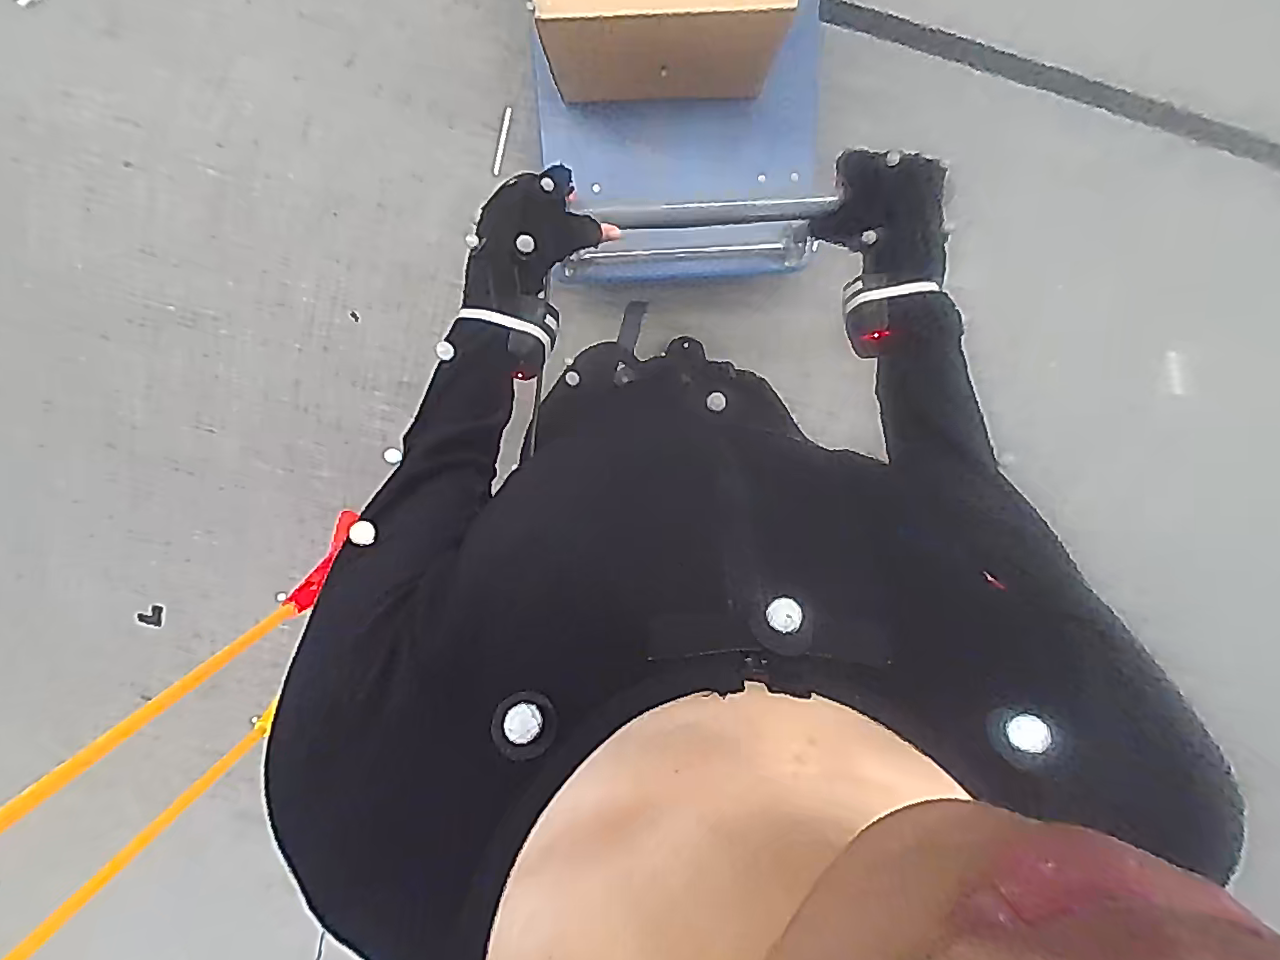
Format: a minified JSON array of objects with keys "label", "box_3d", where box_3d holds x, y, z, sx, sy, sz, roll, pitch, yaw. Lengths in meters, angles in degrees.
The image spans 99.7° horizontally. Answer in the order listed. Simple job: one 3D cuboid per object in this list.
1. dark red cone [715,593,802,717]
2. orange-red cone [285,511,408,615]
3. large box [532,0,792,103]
[{"label":"dark red cone","box_3d":[0.336,0.468,1.396,0.201,0.394,0.202,15,104,-5]},{"label":"orange-red cone","box_3d":[-0.774,0.241,1.369,0.198,0.360,0.199,23,101,-6]},{"label":"large box","box_3d":[0.032,-0.895,0.935,0.408,0.320,0.320,-2,104,2]}]
